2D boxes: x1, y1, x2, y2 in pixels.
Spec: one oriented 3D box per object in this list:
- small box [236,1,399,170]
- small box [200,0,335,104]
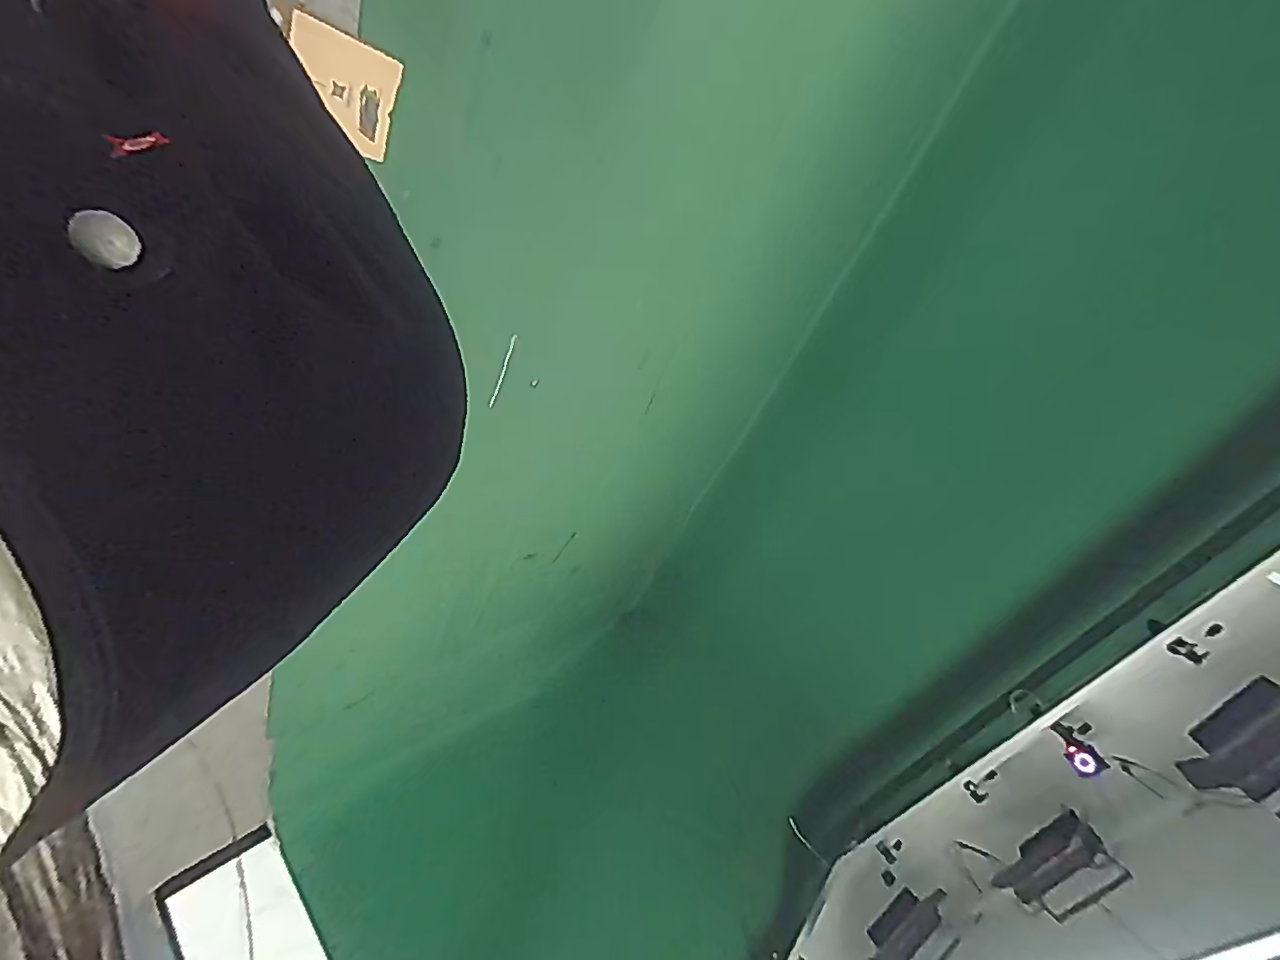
[{"bbox_3d":[-0.555,-0.675,0.930,0.179,0.176,0.168,-10,135,-53],"label":"small box"},{"bbox_3d":[-0.670,-0.775,0.995,0.179,0.176,0.168,-10,135,-52],"label":"small box"}]
